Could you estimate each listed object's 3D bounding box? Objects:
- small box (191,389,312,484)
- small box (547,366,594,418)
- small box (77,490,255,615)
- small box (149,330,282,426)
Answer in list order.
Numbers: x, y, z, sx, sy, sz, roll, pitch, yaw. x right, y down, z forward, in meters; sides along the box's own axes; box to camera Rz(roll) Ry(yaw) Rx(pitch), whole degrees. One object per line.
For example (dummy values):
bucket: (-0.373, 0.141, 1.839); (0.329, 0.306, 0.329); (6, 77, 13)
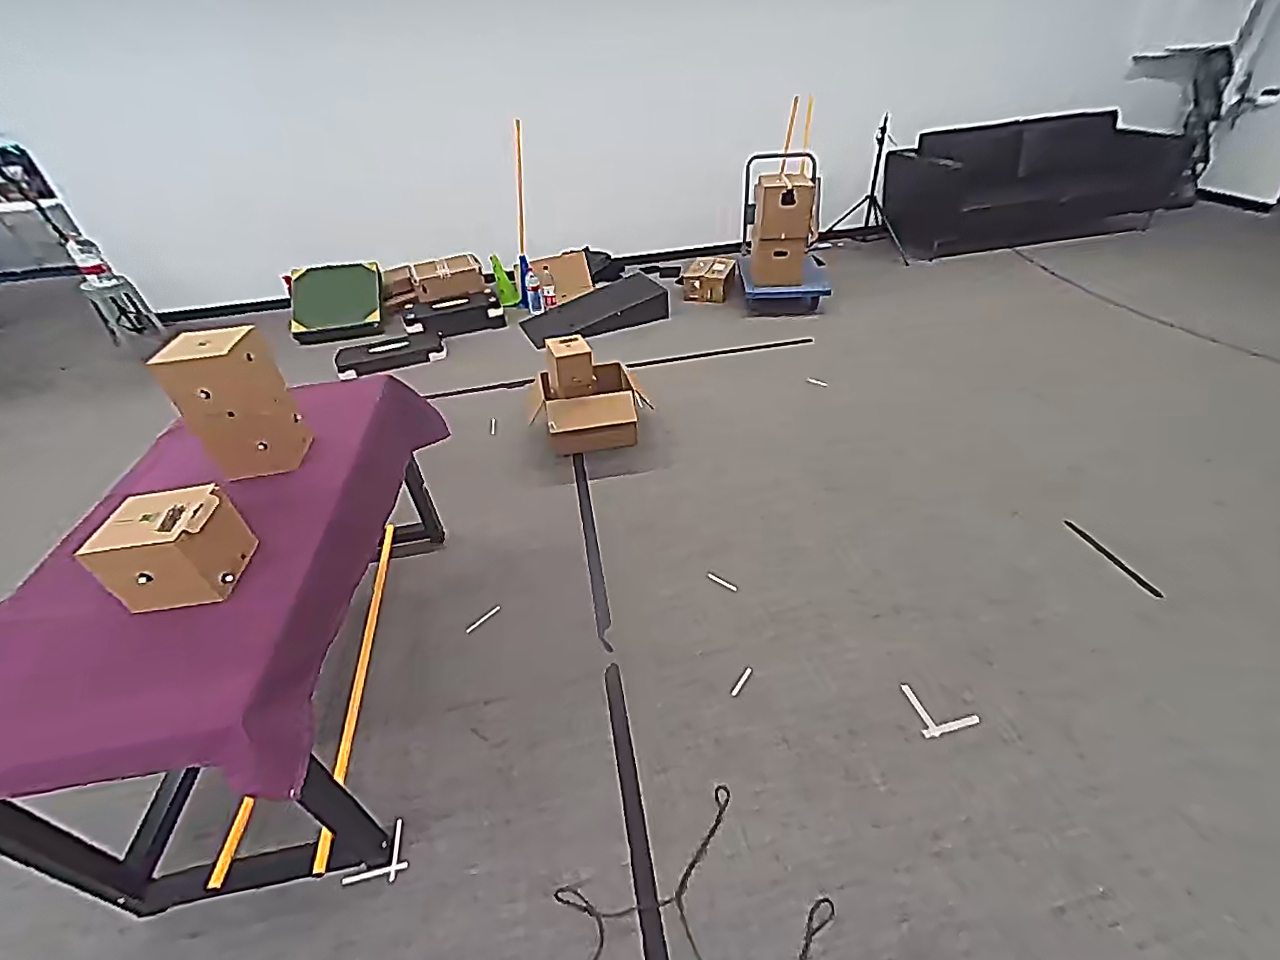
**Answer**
small box: (-0.991, -0.112, 1.400); (0.179, 0.176, 0.168); (-10, 39, -6)
small box: (-0.328, -0.419, 2.590); (0.179, 0.176, 0.168); (-22, 45, -25)
small box: (-0.916, 0.145, 1.071); (0.179, 0.176, 0.168); (-8, 38, -3)
small box: (-1.002, -0.240, 1.299); (0.168, 0.176, 0.179); (-9, 38, -6)
